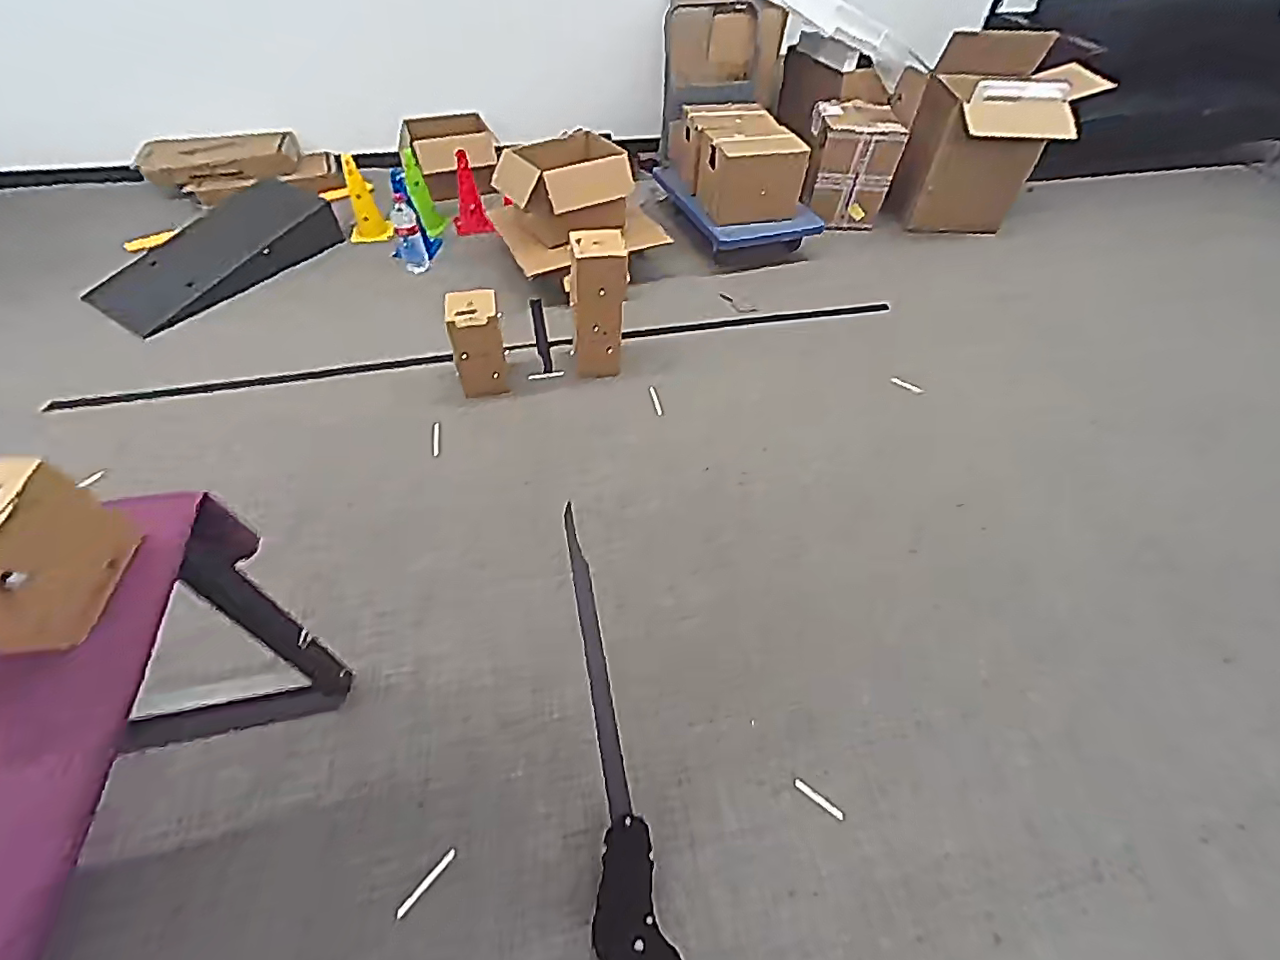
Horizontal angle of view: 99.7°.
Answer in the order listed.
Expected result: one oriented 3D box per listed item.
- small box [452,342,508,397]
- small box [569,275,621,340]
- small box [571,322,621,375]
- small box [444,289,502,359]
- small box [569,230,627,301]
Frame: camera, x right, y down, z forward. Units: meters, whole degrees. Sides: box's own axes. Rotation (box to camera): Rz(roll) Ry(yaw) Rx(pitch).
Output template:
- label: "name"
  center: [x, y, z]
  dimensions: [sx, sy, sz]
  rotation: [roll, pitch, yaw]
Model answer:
- label: "small box"
  center: [-0.591, -0.433, 2.008]
  dimensions: [0.179, 0.176, 0.168]
  rotation: [-12, 52, -11]
- label: "small box"
  center: [-0.169, -0.636, 1.982]
  dimensions: [0.168, 0.176, 0.179]
  rotation: [-8, 53, -11]
- label: "small box"
  center: [-0.174, -0.524, 2.101]
  dimensions: [0.179, 0.176, 0.168]
  rotation: [-5, 51, -8]
- label: "small box"
  center: [-0.579, -0.537, 1.881]
  dimensions: [0.168, 0.176, 0.179]
  rotation: [-9, 51, -10]
- label: "small box"
  center: [-0.149, -0.733, 1.851]
  dimensions: [0.179, 0.176, 0.168]
  rotation: [-6, 53, -10]
